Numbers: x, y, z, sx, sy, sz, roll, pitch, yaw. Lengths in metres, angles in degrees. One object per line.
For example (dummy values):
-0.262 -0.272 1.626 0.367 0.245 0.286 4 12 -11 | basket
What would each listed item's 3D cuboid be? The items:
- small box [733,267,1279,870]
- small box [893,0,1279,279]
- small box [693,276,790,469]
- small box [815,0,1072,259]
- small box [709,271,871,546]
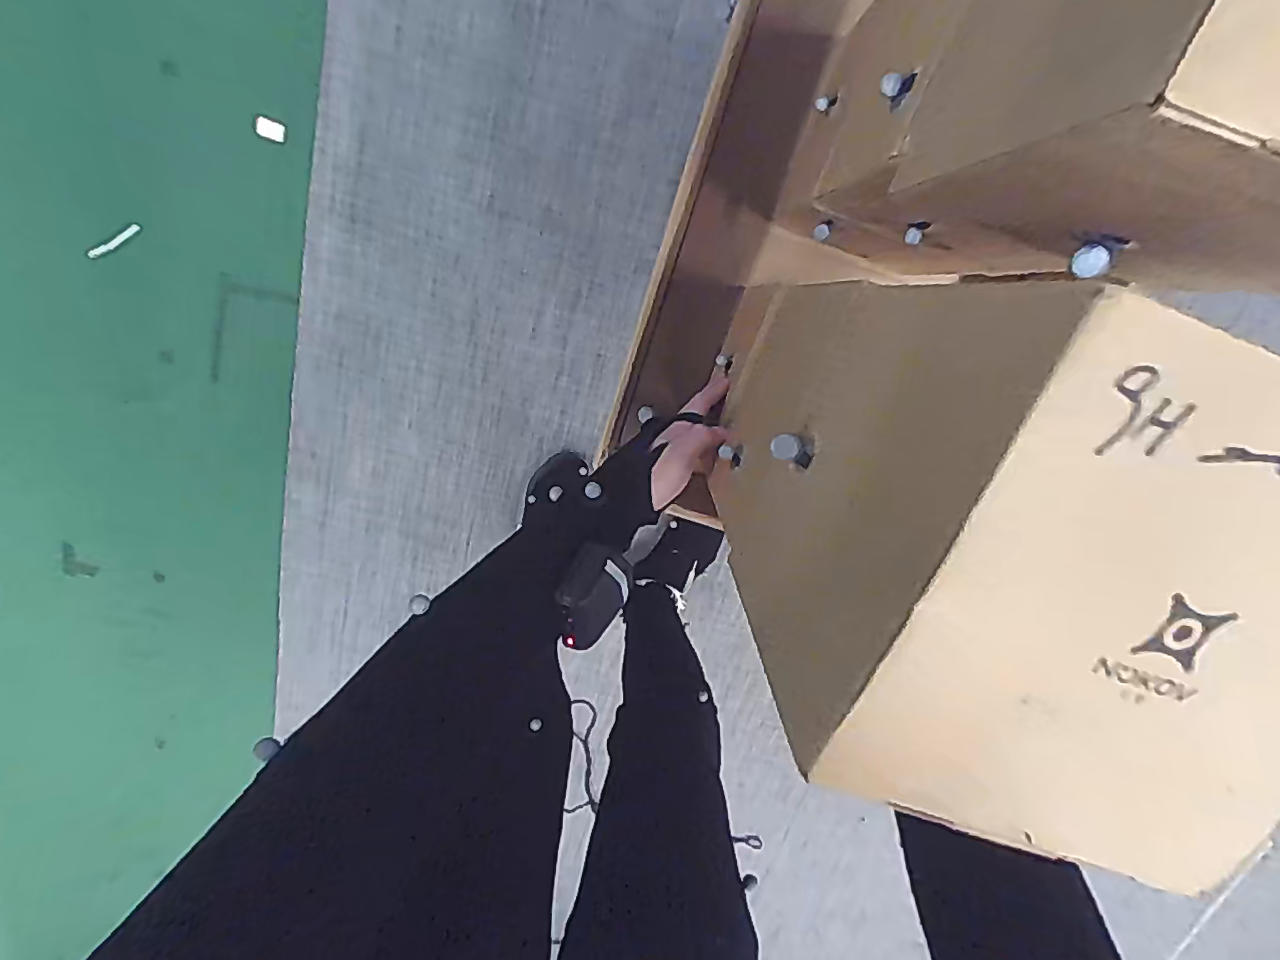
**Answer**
0.153 0.021 0.247 0.168 0.176 0.179 18 109 -6 | small box
0.218 -0.179 0.181 0.168 0.176 0.179 16 111 -3 | small box
0.158 -0.091 0.553 0.168 0.176 0.179 18 107 -5 | small box
0.229 -0.250 0.331 0.168 0.176 0.179 17 111 -5 | small box
0.158 -0.035 0.400 0.168 0.176 0.179 19 107 -6 | small box
